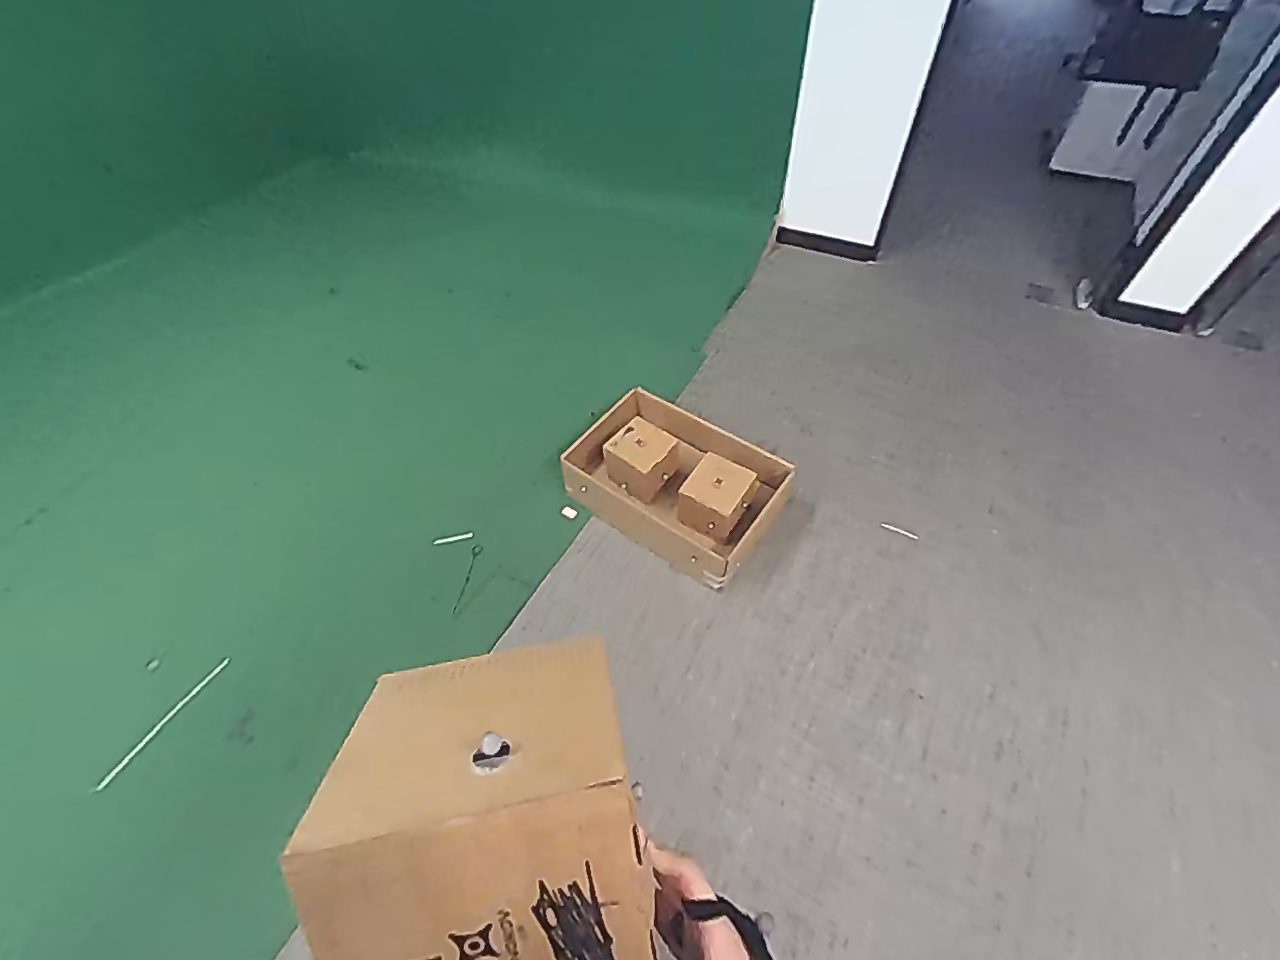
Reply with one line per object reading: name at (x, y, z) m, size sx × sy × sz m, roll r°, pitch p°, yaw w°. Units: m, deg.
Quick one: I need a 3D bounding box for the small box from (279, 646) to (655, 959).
small box at (-0.095, 0.234, 0.368) m, size 0.179 × 0.168 × 0.176 m, roll -9°, pitch 12°, yaw -7°
